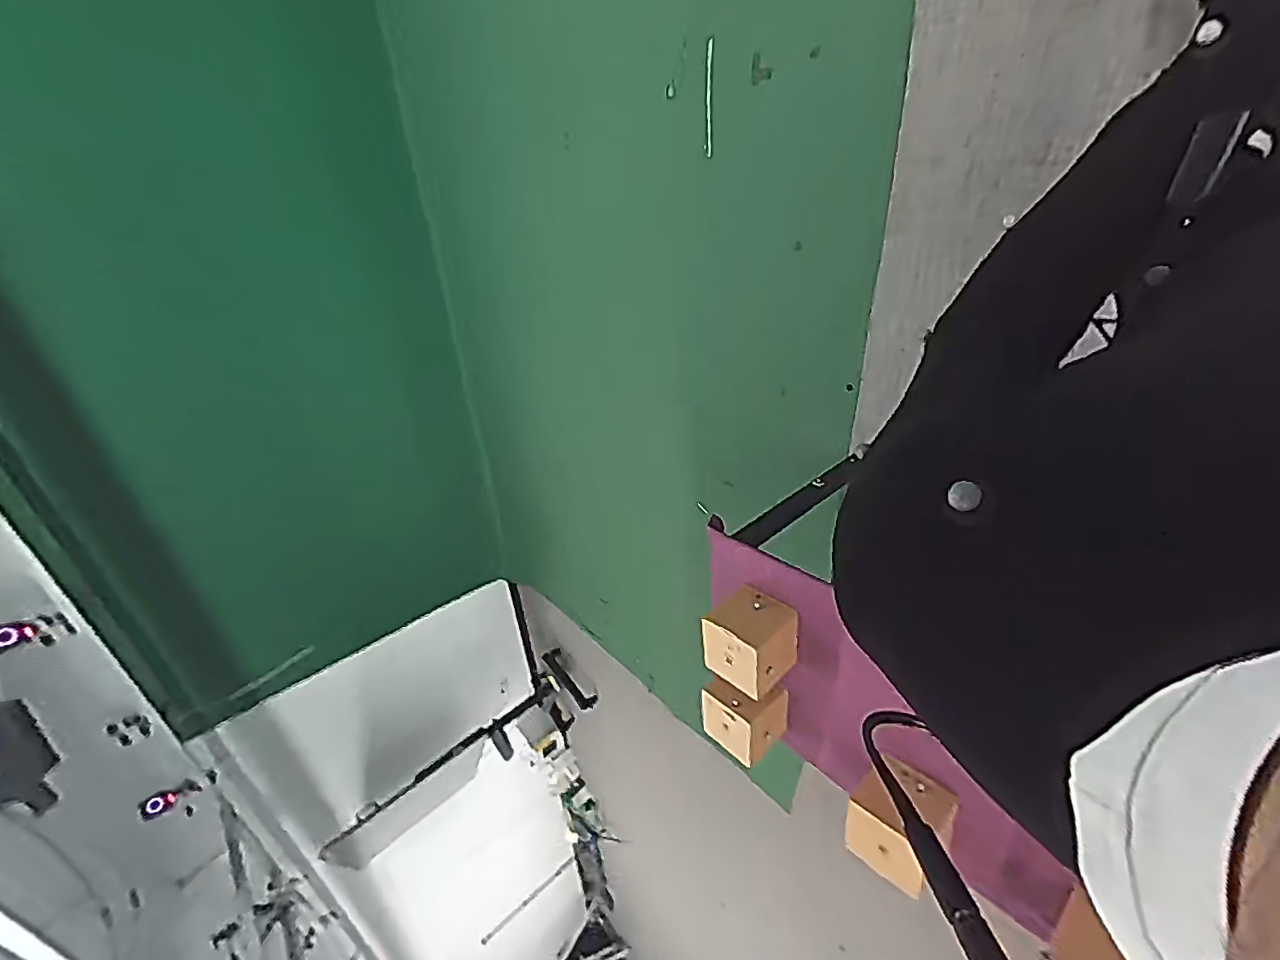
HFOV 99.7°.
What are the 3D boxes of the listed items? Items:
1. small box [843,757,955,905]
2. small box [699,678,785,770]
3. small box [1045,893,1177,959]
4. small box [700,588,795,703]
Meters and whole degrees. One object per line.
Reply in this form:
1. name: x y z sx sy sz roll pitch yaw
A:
1. small box: 0.570 0.763 1.192 0.168 0.176 0.179 21 126 44
2. small box: 0.283 0.641 1.486 0.168 0.176 0.179 22 129 43
3. small box: 0.817 0.886 0.944 0.168 0.176 0.179 21 128 45
4. small box: 0.269 0.404 1.346 0.168 0.176 0.179 23 130 42
